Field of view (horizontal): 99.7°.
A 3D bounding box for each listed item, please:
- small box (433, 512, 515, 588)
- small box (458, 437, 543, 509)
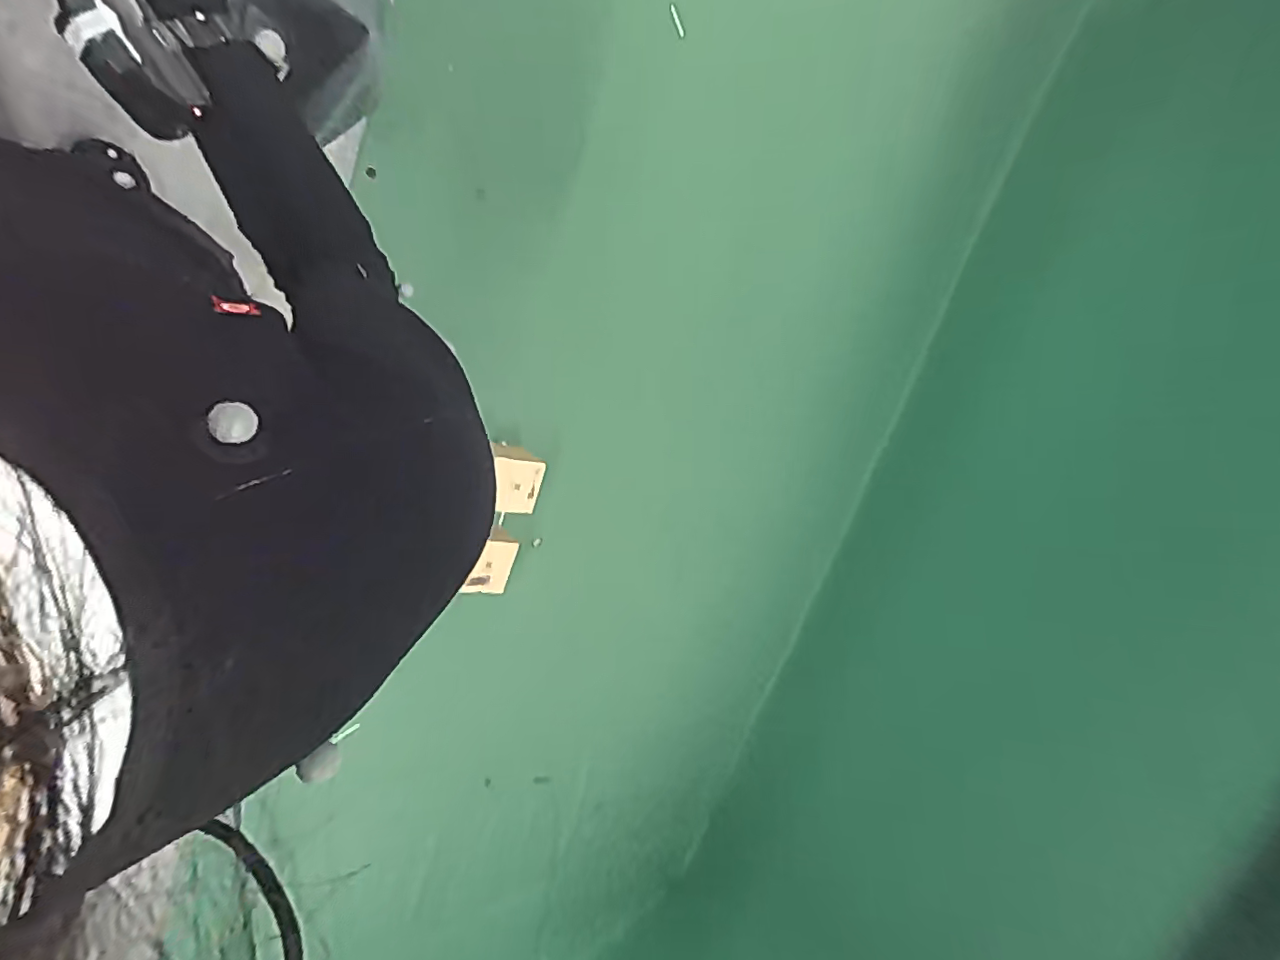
[{"bbox_3d":[-0.528,0.222,1.700,0.168,0.176,0.179,13,102,-46],"label":"small box"},{"bbox_3d":[-0.433,-0.023,1.654,0.179,0.176,0.168,9,105,-44],"label":"small box"}]
